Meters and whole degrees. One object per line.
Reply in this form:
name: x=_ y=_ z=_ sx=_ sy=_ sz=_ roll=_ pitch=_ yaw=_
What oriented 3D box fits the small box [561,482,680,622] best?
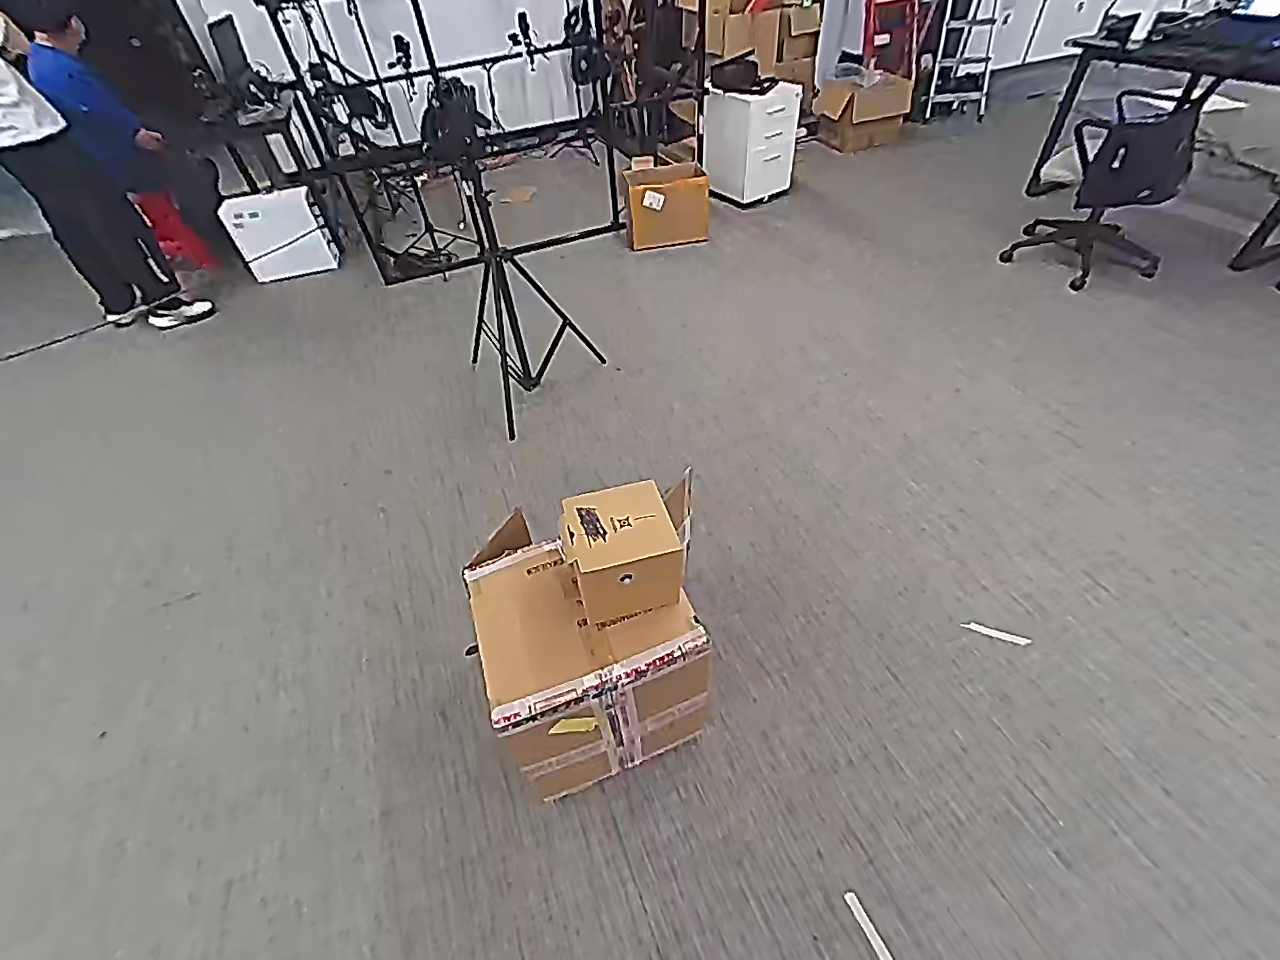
small box: x=-0.035 y=0.133 z=0.979 sx=0.179 sy=0.176 sz=0.168 roll=-13 pitch=48 yaw=-11
